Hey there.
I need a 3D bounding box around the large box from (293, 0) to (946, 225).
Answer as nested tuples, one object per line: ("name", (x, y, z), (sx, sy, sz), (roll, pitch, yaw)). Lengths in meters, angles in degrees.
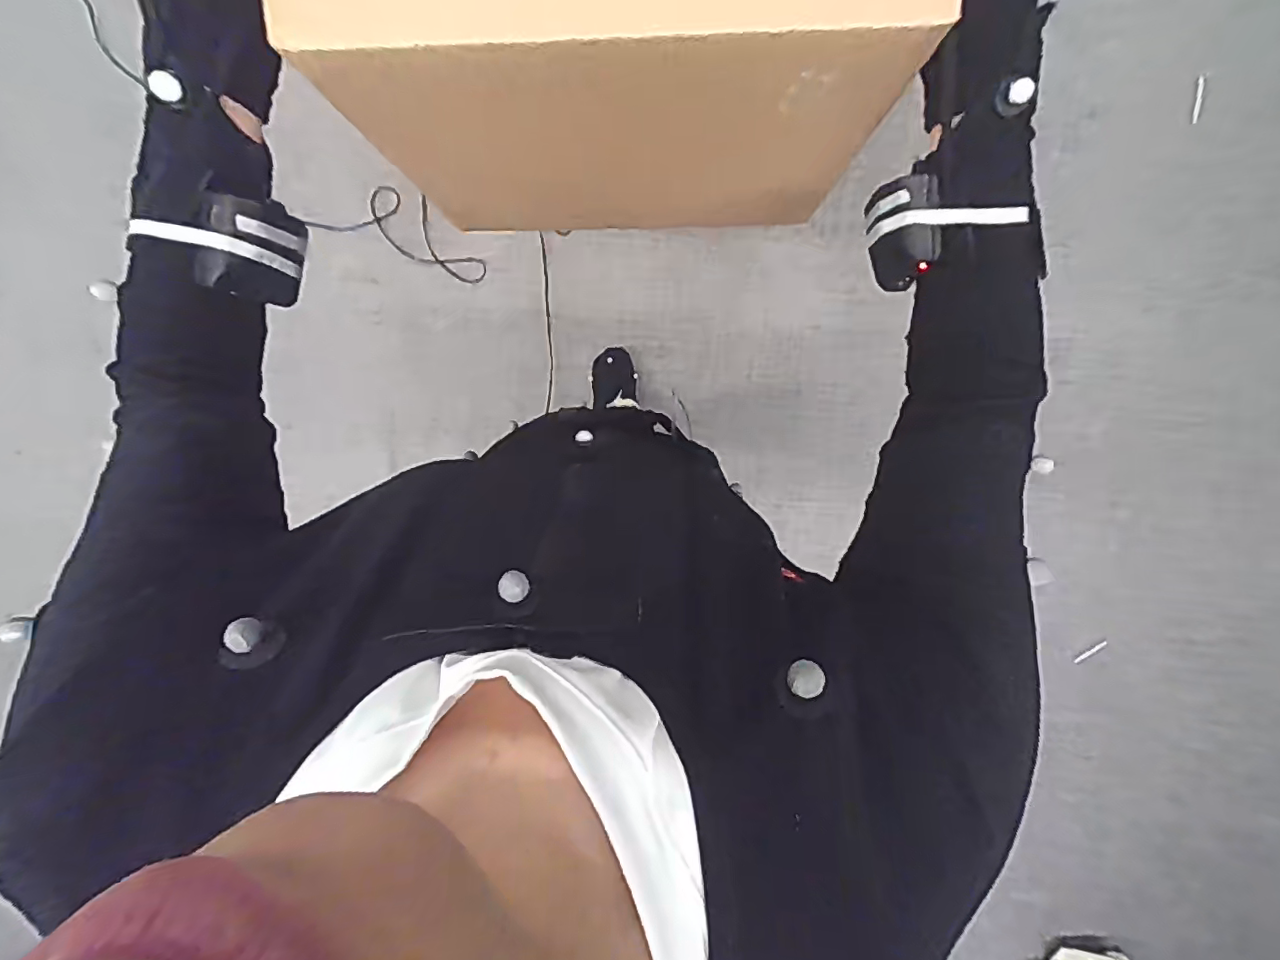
("large box", (-0.017, -0.438, 0.461), (0.408, 0.320, 0.320), (-1, 96, 0))
